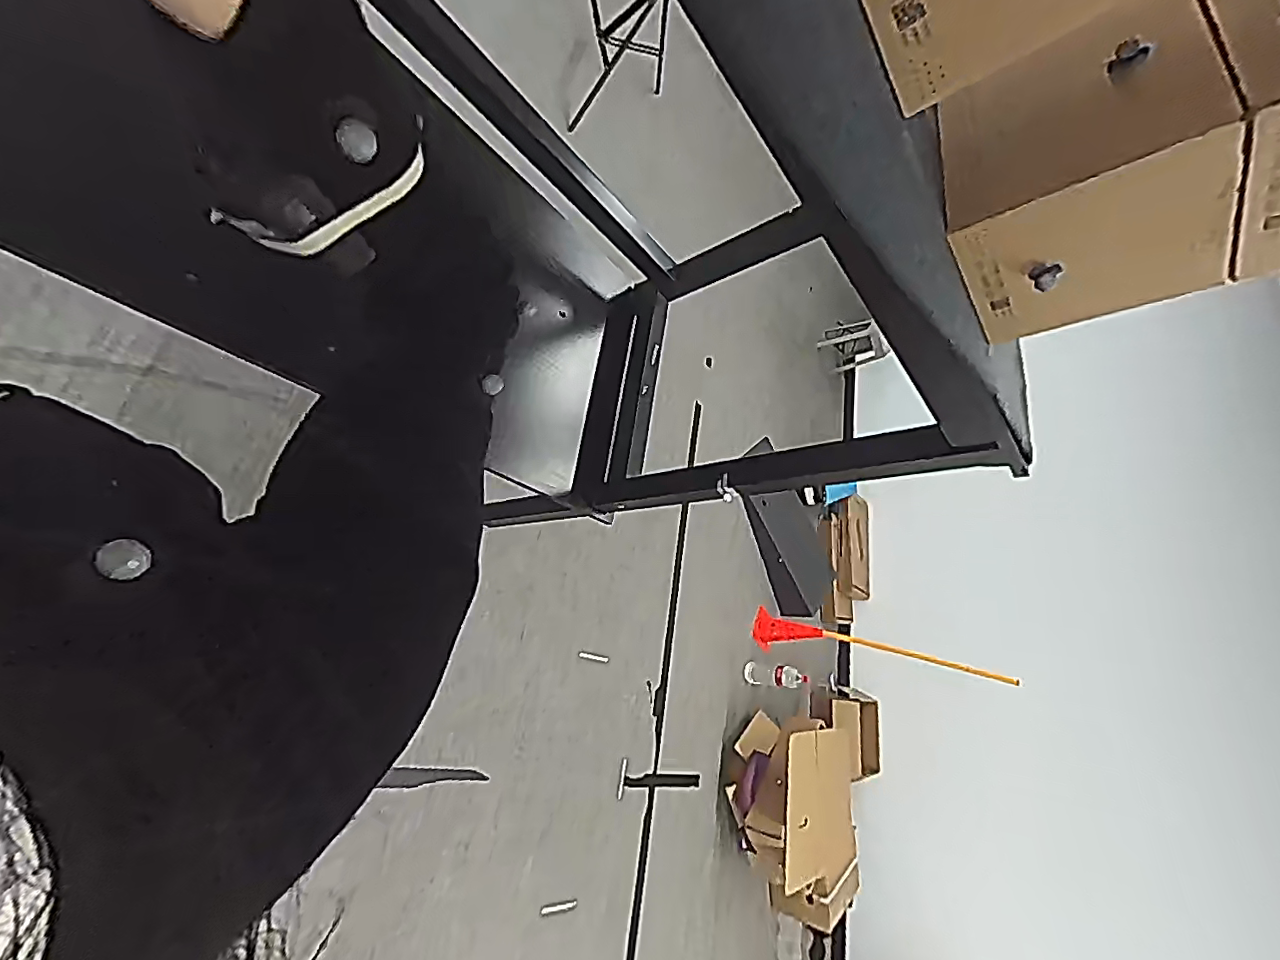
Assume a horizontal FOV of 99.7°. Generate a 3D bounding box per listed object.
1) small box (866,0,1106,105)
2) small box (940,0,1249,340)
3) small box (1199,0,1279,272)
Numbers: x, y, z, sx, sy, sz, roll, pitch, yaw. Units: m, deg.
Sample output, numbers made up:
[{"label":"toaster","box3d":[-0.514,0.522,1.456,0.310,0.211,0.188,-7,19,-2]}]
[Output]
[{"label":"small box","box3d":[0.199,-0.356,0.284,0.168,0.176,0.179,30,58,-43]},{"label":"small box","box3d":[0.375,-0.255,0.470,0.168,0.176,0.179,31,60,-41]},{"label":"small box","box3d":[0.500,-0.278,0.366,0.168,0.176,0.179,32,59,-42]}]
